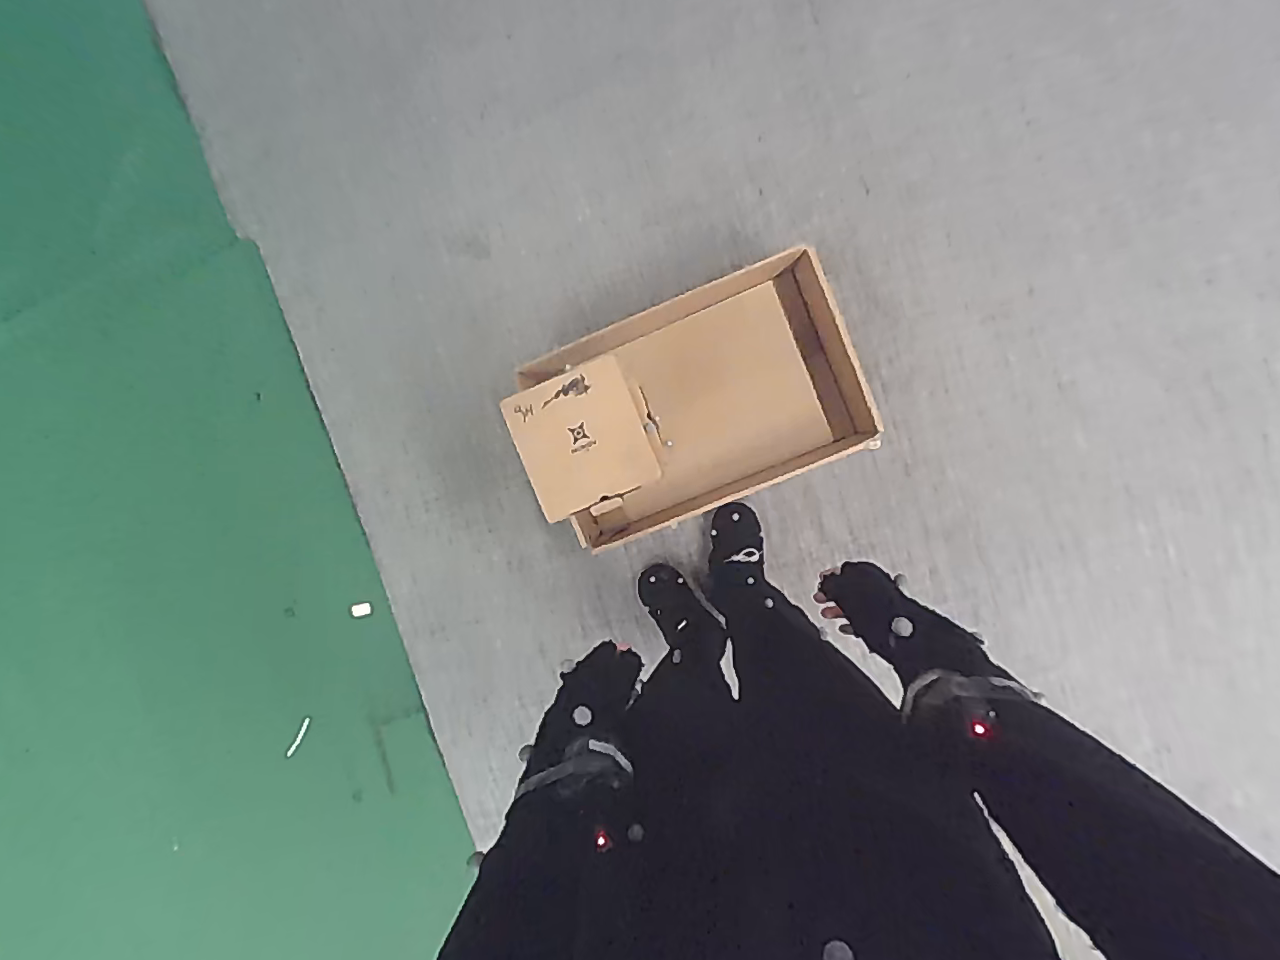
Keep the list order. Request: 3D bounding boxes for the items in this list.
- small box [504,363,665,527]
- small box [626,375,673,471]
[{"bbox_3d":[-0.068,-0.052,0.790,0.168,0.176,0.179,-22,93,6],"label":"small box"},{"bbox_3d":[-0.050,-0.071,0.951,0.179,0.176,0.168,-22,92,6],"label":"small box"}]
